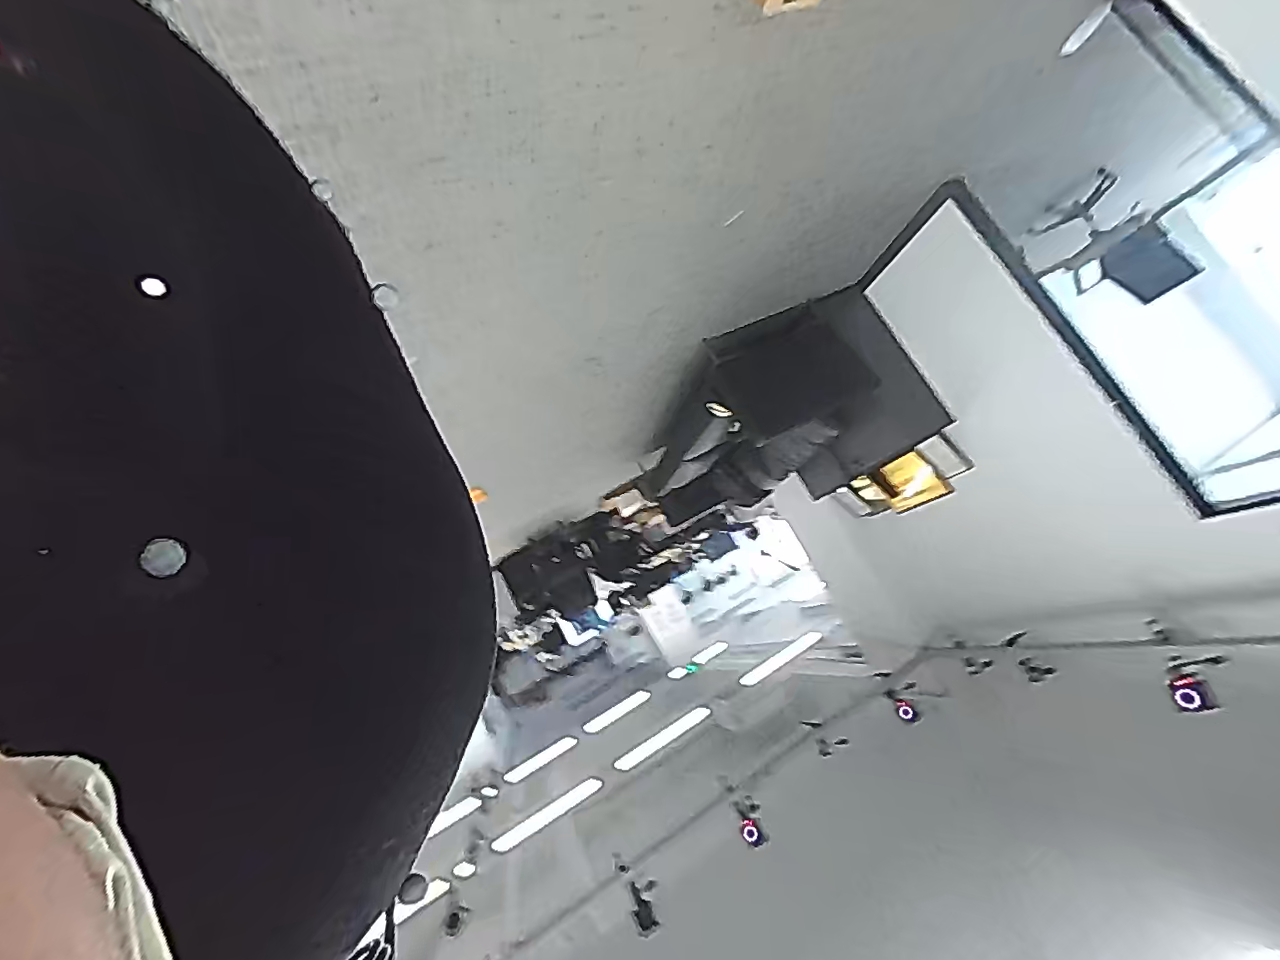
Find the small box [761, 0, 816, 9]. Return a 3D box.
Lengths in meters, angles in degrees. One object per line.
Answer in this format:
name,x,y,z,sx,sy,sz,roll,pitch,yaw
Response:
small box,0.305,-1.124,1.104,0.168,0.176,0.179,-26,168,-19
